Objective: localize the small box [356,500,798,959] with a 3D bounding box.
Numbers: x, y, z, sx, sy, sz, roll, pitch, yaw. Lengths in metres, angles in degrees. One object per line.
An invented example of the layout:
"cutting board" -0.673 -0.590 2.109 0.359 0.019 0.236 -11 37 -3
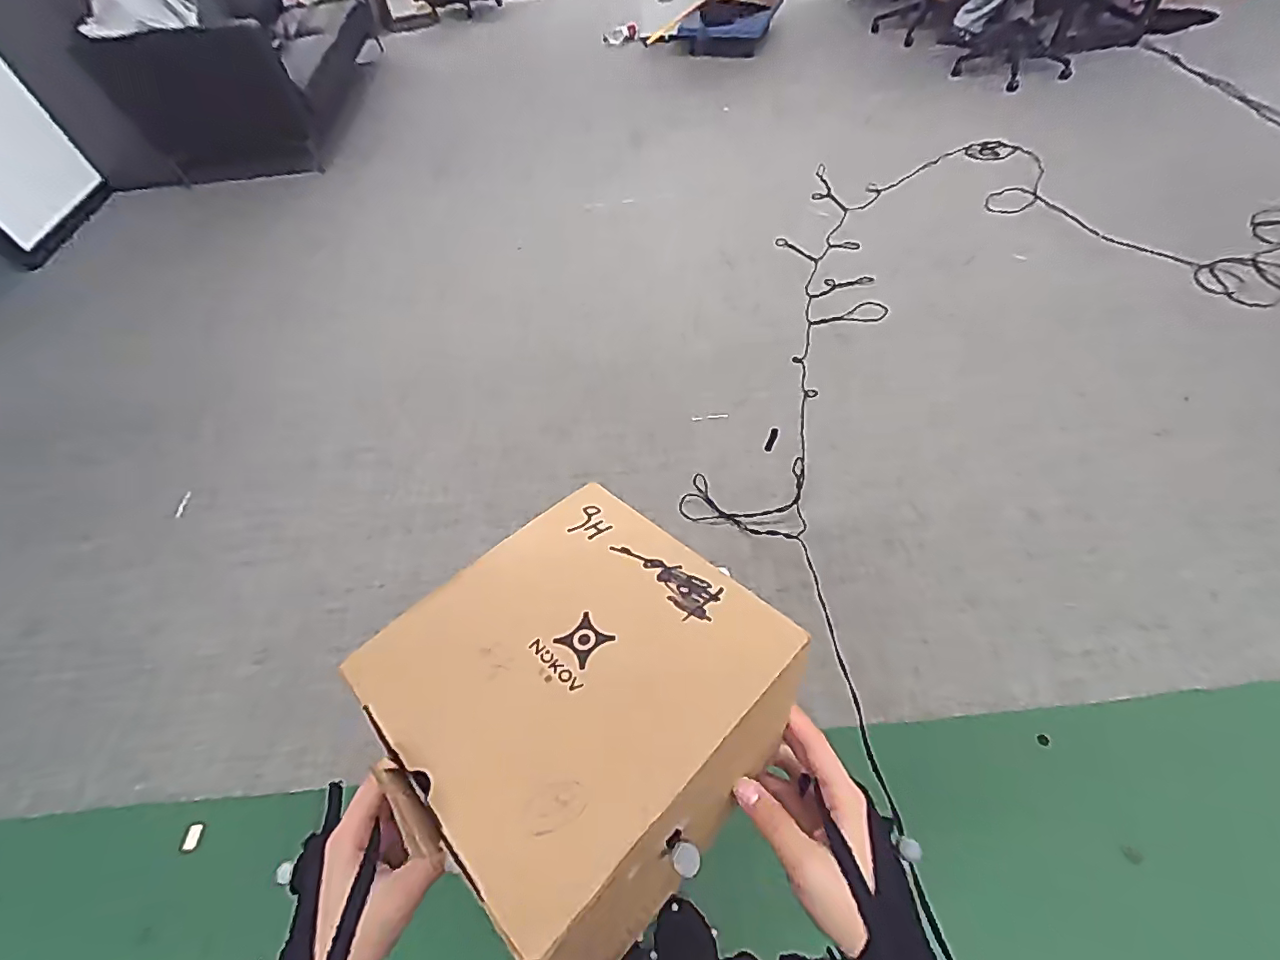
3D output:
"small box" -0.026 0.152 0.333 0.168 0.176 0.179 33 57 33
